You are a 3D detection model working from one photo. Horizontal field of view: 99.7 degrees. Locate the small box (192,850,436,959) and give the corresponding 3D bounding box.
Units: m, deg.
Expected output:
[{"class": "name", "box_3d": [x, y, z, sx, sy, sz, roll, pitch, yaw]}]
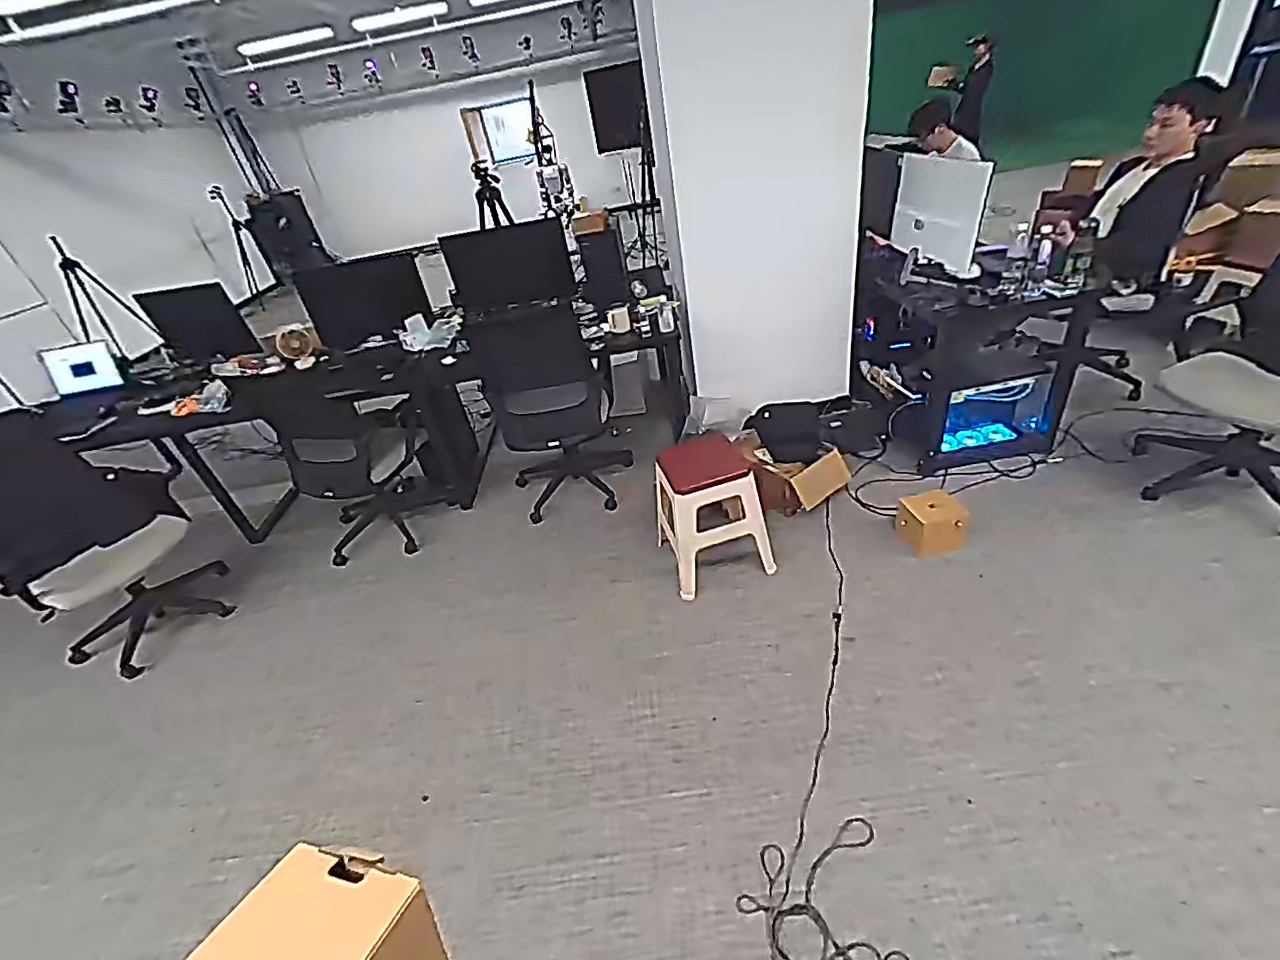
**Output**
[{"class": "small box", "box_3d": [-0.303, 0.494, 0.491, 0.168, 0.176, 0.179, 0, 18, 20]}]
